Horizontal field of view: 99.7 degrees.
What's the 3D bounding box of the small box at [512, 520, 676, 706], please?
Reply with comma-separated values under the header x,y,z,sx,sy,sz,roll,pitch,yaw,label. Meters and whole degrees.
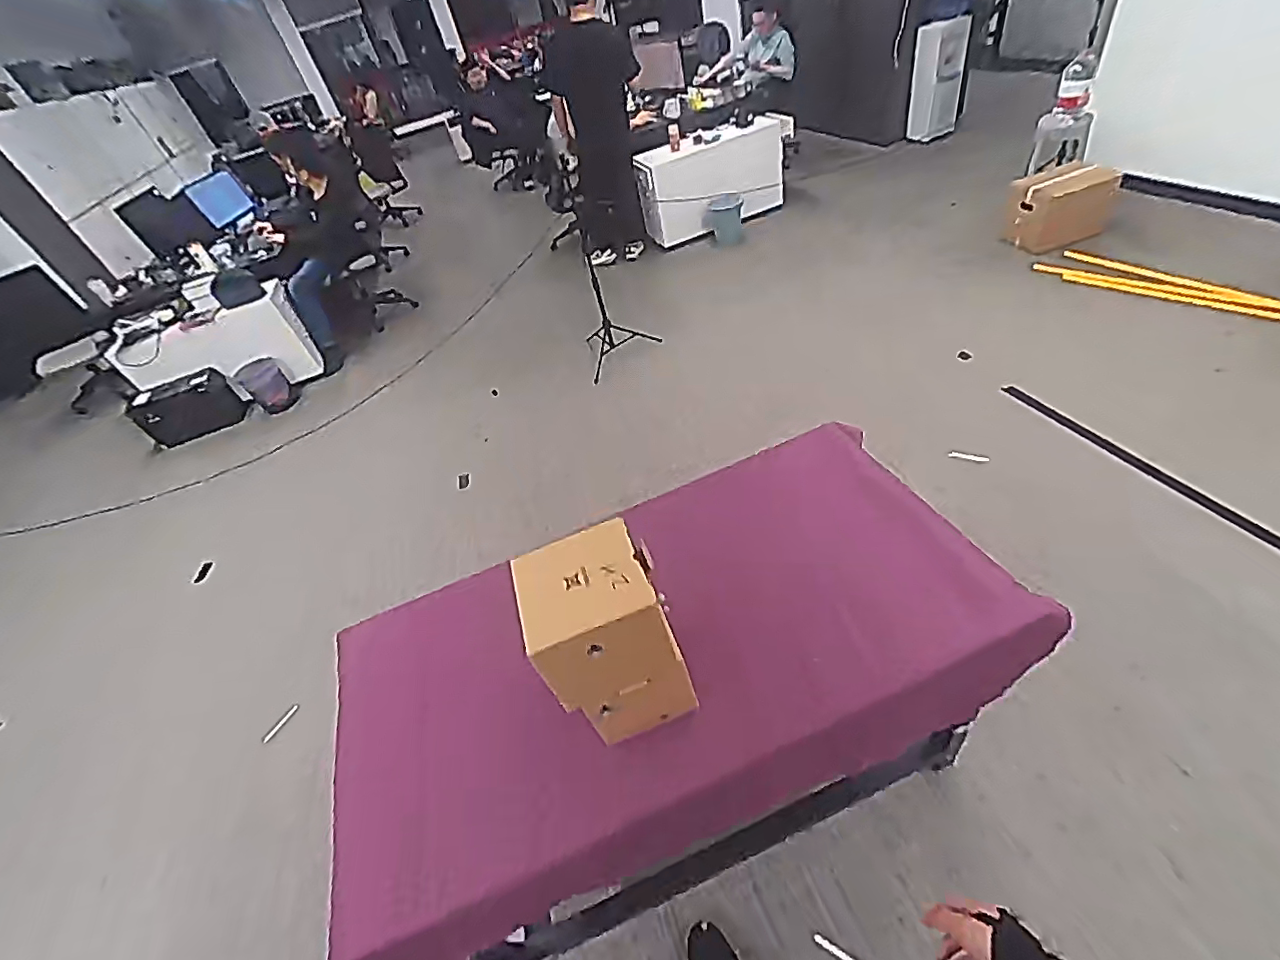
x,y,z,sx,sy,sz,roll,pitch,yaw,label
-0.065,0.195,0.780,0.179,0.176,0.168,-21,43,-5,small box
